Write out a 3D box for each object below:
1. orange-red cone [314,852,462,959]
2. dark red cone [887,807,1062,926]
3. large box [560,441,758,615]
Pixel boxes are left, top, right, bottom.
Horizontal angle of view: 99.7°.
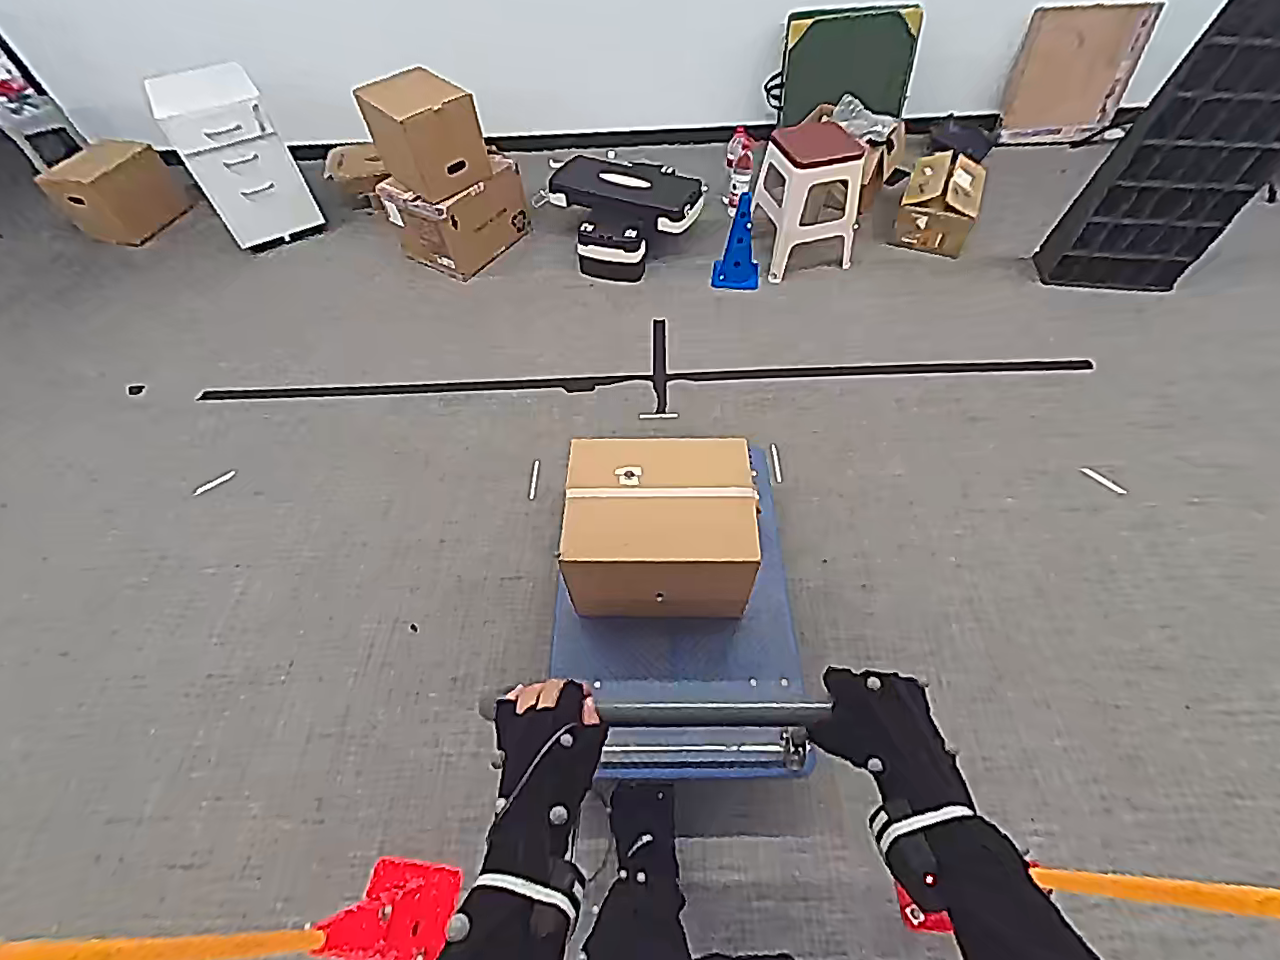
[{"bbox_3d":[-0.495,0.811,0.996,0.198,0.360,0.199,6,54,6],"label":"orange-red cone"},{"bbox_3d":[0.634,0.708,0.995,0.201,0.394,0.202,0,55,0],"label":"dark red cone"},{"bbox_3d":[0.045,0.124,1.280,0.408,0.320,0.320,0,56,3],"label":"large box"}]
